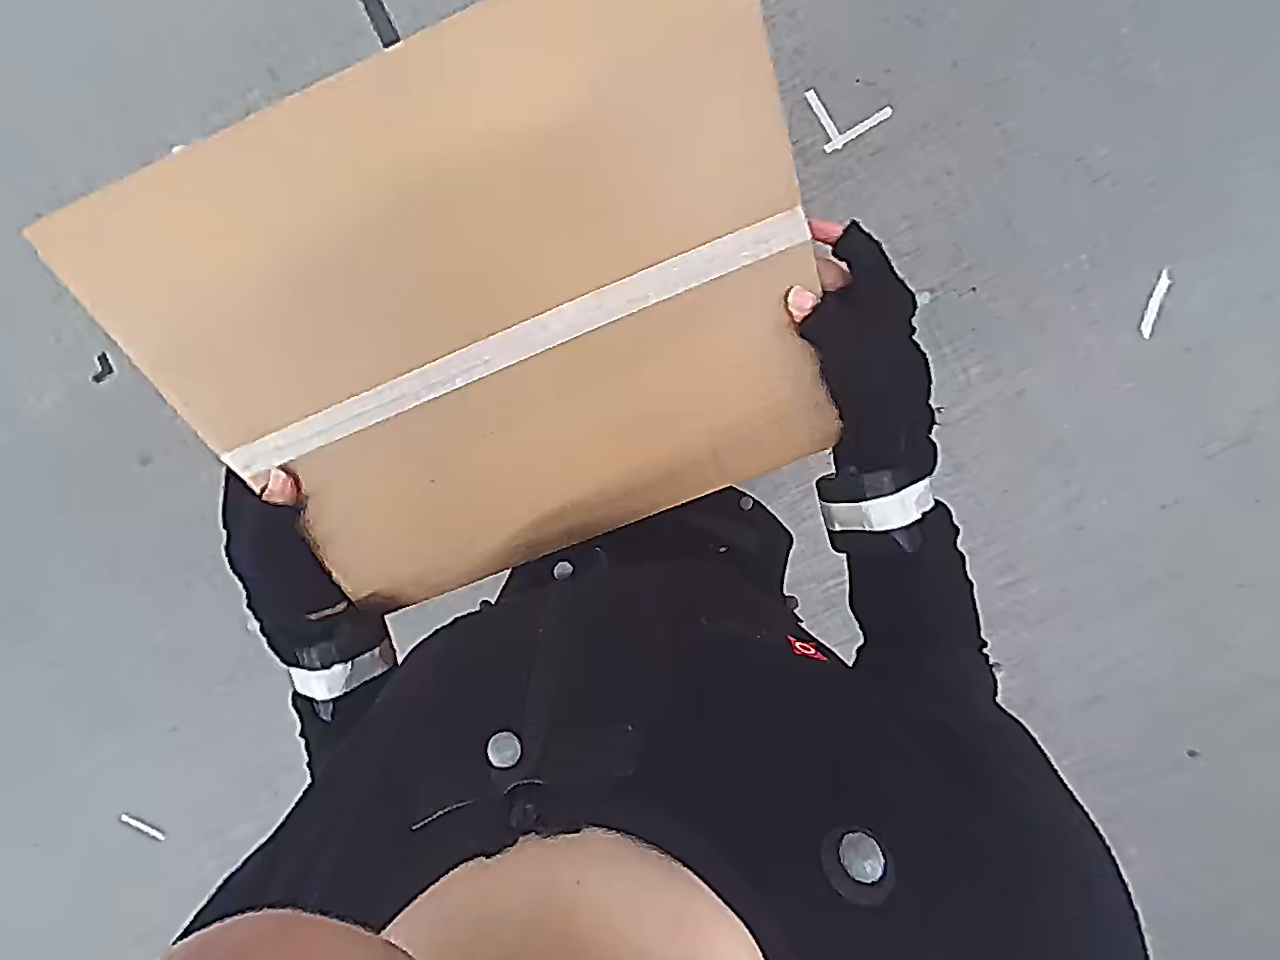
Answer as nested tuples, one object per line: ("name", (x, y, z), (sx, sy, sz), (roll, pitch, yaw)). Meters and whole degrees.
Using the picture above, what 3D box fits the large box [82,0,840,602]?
("large box", (-0.100, -0.161, 0.488), (0.408, 0.320, 0.320), (-21, 120, 6))
